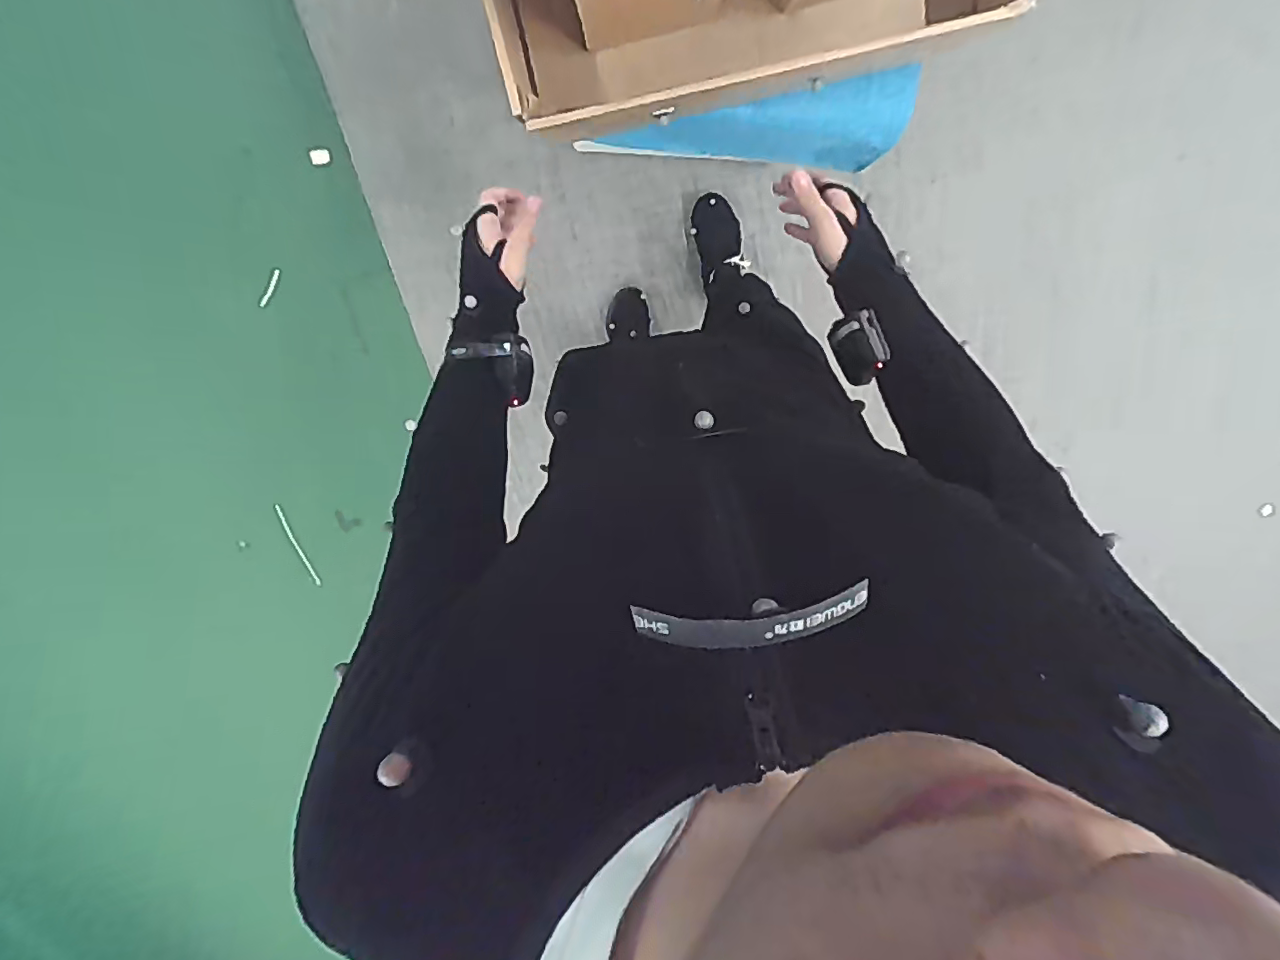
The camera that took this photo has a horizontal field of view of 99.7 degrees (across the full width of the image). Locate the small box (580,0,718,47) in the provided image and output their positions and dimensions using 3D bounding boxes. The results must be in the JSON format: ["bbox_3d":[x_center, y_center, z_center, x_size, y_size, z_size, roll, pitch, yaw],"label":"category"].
[{"bbox_3d":[0.002,-0.633,0.616,0.179,0.176,0.168,-11,113,4],"label":"small box"}]
